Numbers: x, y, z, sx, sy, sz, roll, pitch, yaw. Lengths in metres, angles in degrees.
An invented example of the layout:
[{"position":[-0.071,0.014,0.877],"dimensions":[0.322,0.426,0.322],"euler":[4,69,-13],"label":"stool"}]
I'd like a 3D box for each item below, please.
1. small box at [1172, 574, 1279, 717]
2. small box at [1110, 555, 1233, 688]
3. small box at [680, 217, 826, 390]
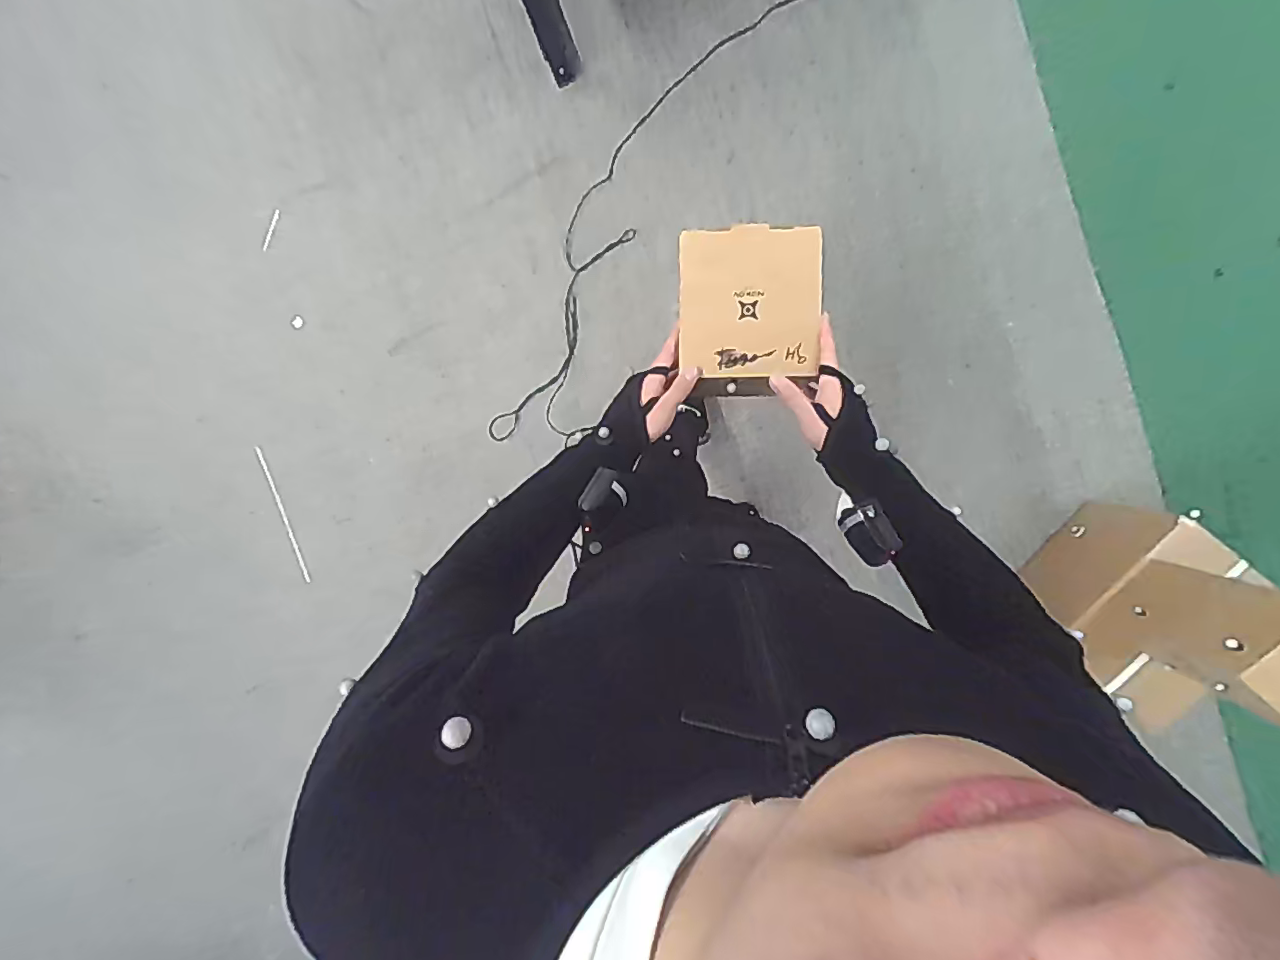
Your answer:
[{"position":[1.113,0.297,0.953],"dimensions":[0.168,0.176,0.179],"euler":[42,99,1],"label":"small box"},{"position":[1.134,0.282,1.116],"dimensions":[0.168,0.176,0.179],"euler":[40,99,2],"label":"small box"},{"position":[0.137,-0.217,0.703],"dimensions":[0.168,0.176,0.179],"euler":[1,93,6],"label":"small box"}]
